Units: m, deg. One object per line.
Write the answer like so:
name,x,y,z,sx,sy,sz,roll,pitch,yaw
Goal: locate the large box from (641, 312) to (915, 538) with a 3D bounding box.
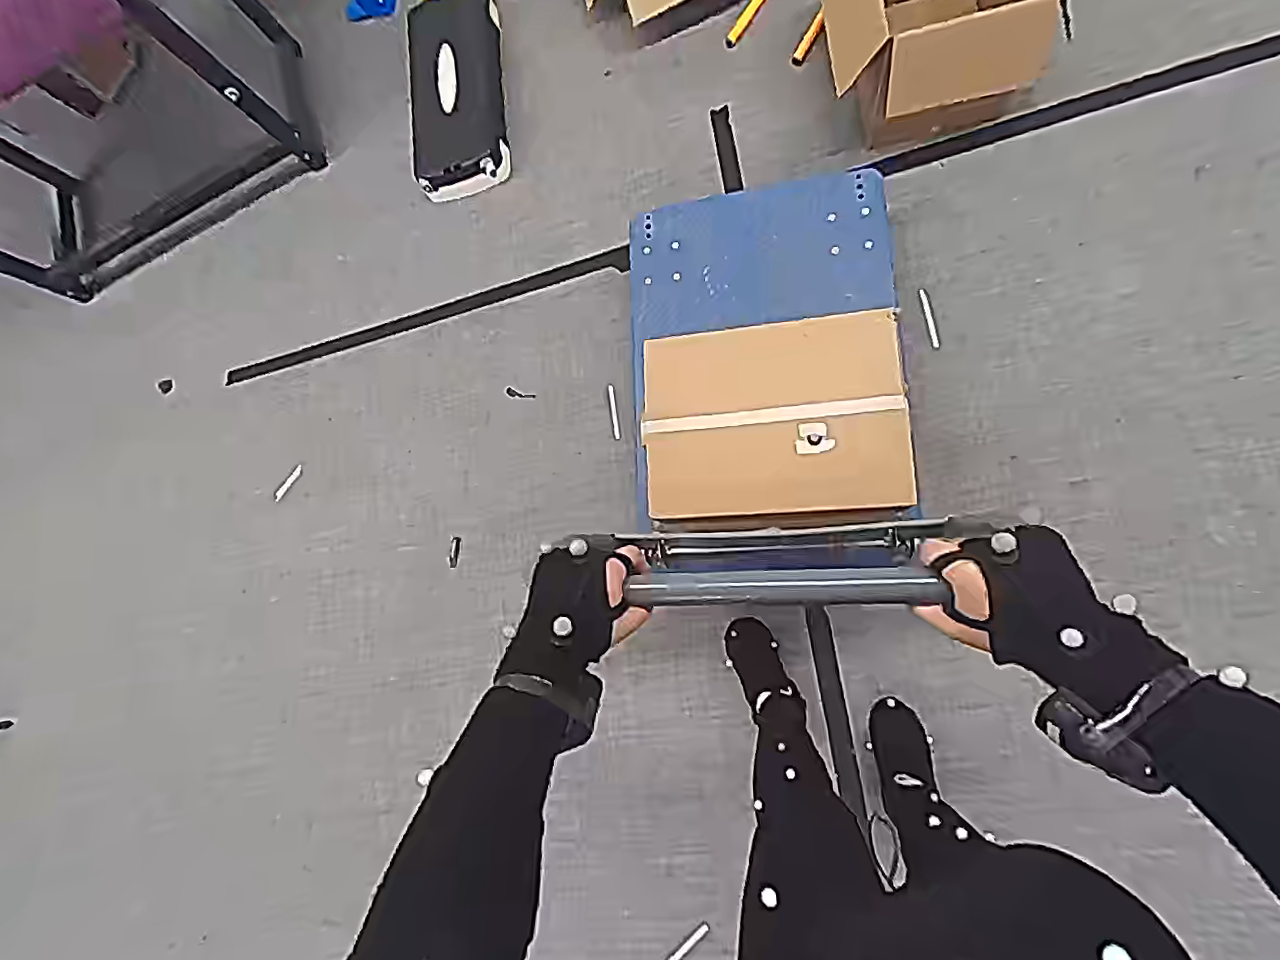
large box,0.235,-0.068,0.994,0.408,0.320,0.320,-4,80,13
